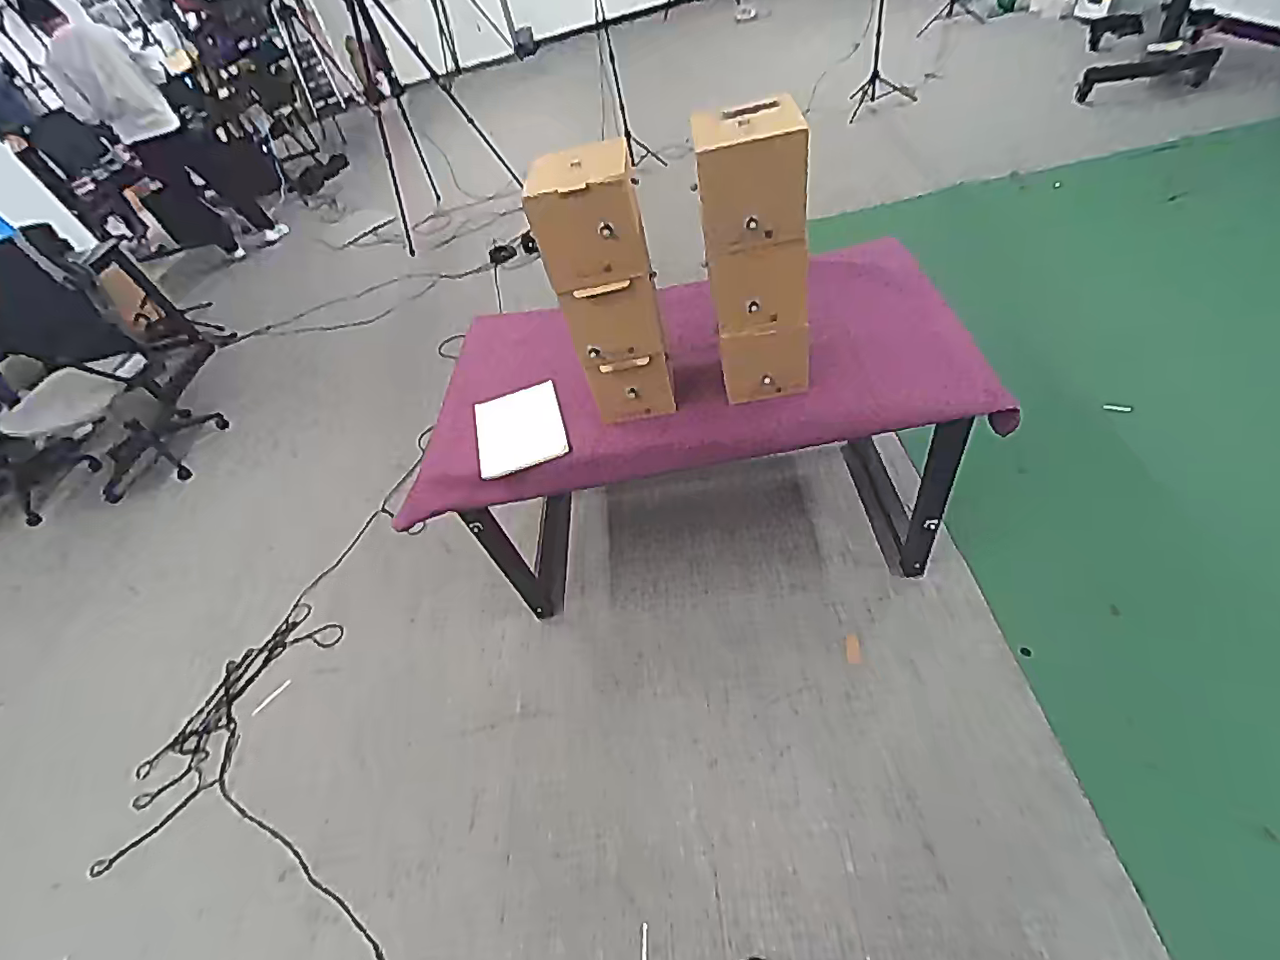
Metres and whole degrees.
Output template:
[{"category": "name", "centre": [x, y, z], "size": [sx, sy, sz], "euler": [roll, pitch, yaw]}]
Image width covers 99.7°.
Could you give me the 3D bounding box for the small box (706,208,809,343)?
[{"category": "small box", "centre": [0.220, -0.388, 1.031], "size": [0.168, 0.176, 0.179], "euler": [-8, 47, 9]}]

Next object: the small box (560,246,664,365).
[{"category": "small box", "centre": [-0.047, -0.342, 1.065], "size": [0.168, 0.176, 0.179], "euler": [-8, 47, 9]}]

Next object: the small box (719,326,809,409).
[{"category": "small box", "centre": [0.256, -0.276, 1.144], "size": [0.168, 0.176, 0.179], "euler": [-9, 47, 10]}]

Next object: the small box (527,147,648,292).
[{"category": "small box", "centre": [-0.080, -0.444, 0.943], "size": [0.168, 0.176, 0.179], "euler": [-7, 47, 9]}]

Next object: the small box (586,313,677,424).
[{"category": "small box", "centre": [-0.013, -0.239, 1.189], "size": [0.168, 0.176, 0.179], "euler": [-8, 48, 8]}]
